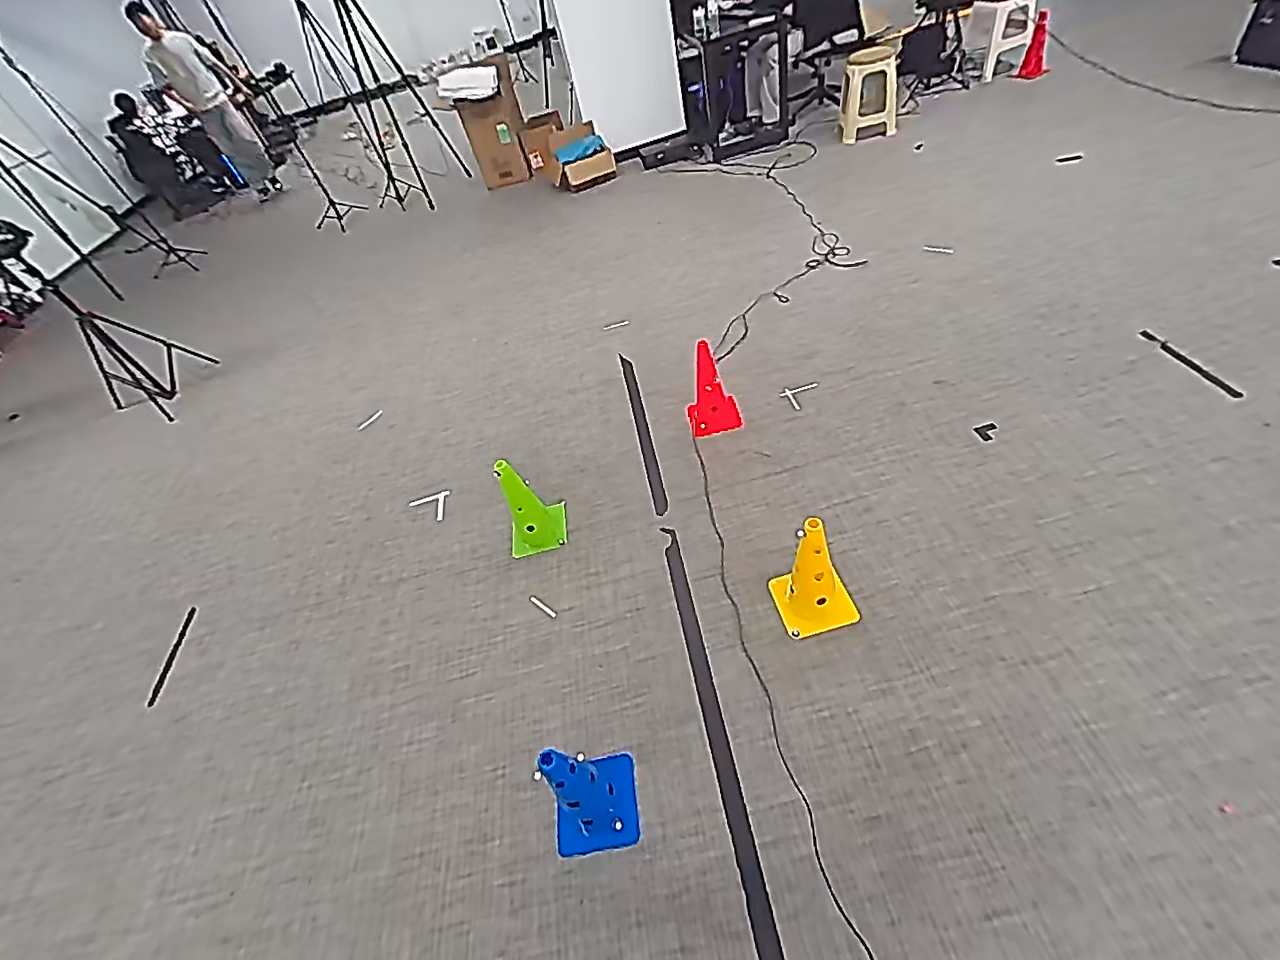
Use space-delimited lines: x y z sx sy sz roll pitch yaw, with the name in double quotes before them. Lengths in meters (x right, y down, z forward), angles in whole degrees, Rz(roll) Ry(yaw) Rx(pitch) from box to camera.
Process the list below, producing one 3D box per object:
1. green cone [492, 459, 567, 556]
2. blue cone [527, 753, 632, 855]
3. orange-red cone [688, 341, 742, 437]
"green cone" -0.402 0.060 1.830 0.202 0.368 0.200 -16 45 4
"blue cone" -0.154 0.678 1.196 0.192 0.380 0.193 -13 45 6
"orange-red cone" 0.262 -0.366 2.031 0.199 0.360 0.198 -11 47 5
